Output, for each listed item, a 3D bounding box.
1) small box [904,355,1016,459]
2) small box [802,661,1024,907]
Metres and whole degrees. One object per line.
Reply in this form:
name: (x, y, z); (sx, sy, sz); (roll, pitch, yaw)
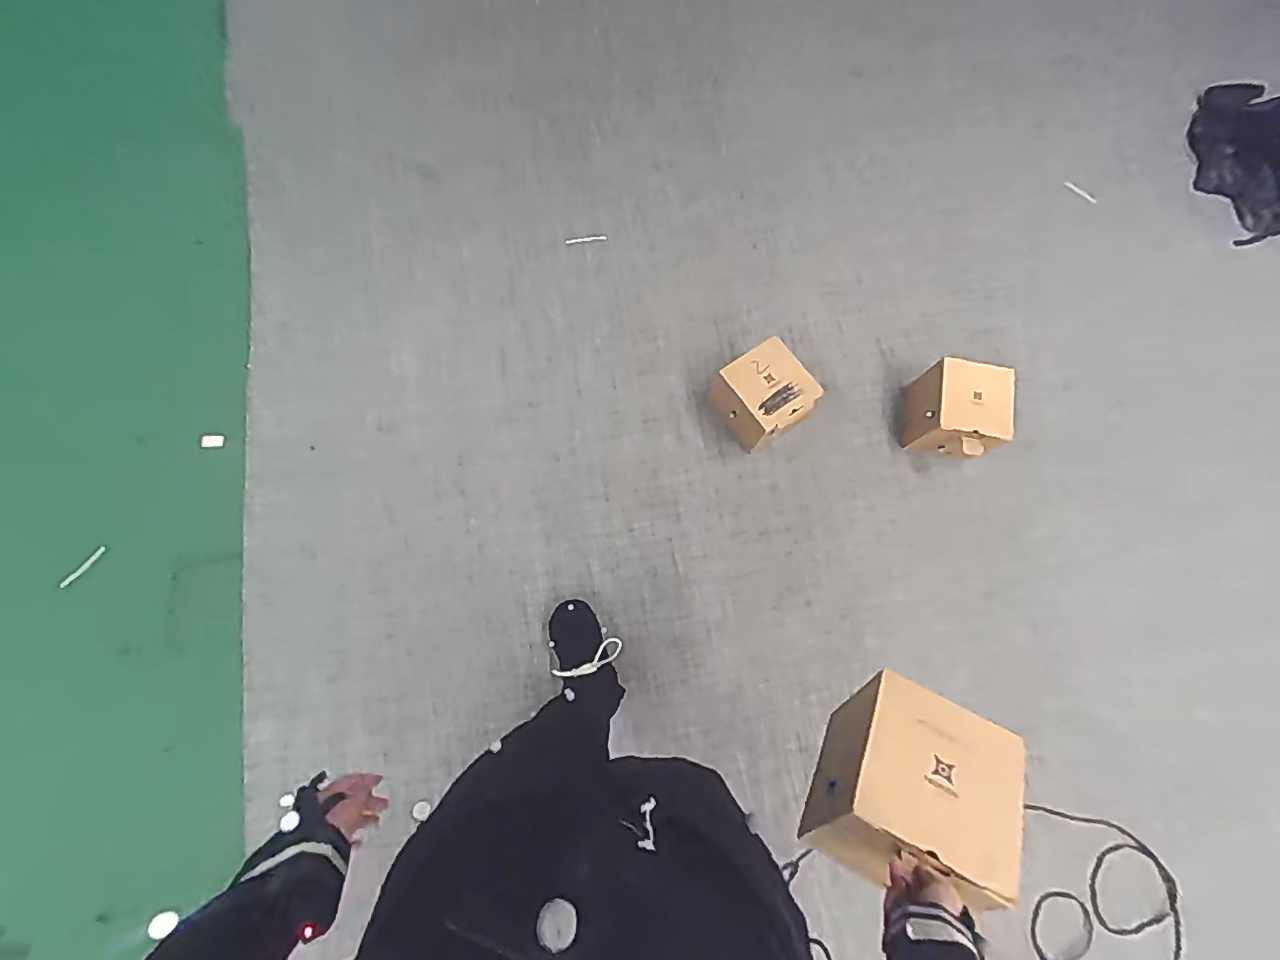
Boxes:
small box: (0.749, -0.165, 1.277); (0.168, 0.176, 0.179); (11, 77, 0)
small box: (0.307, 0.355, 0.629); (0.168, 0.176, 0.179); (26, 49, 13)
